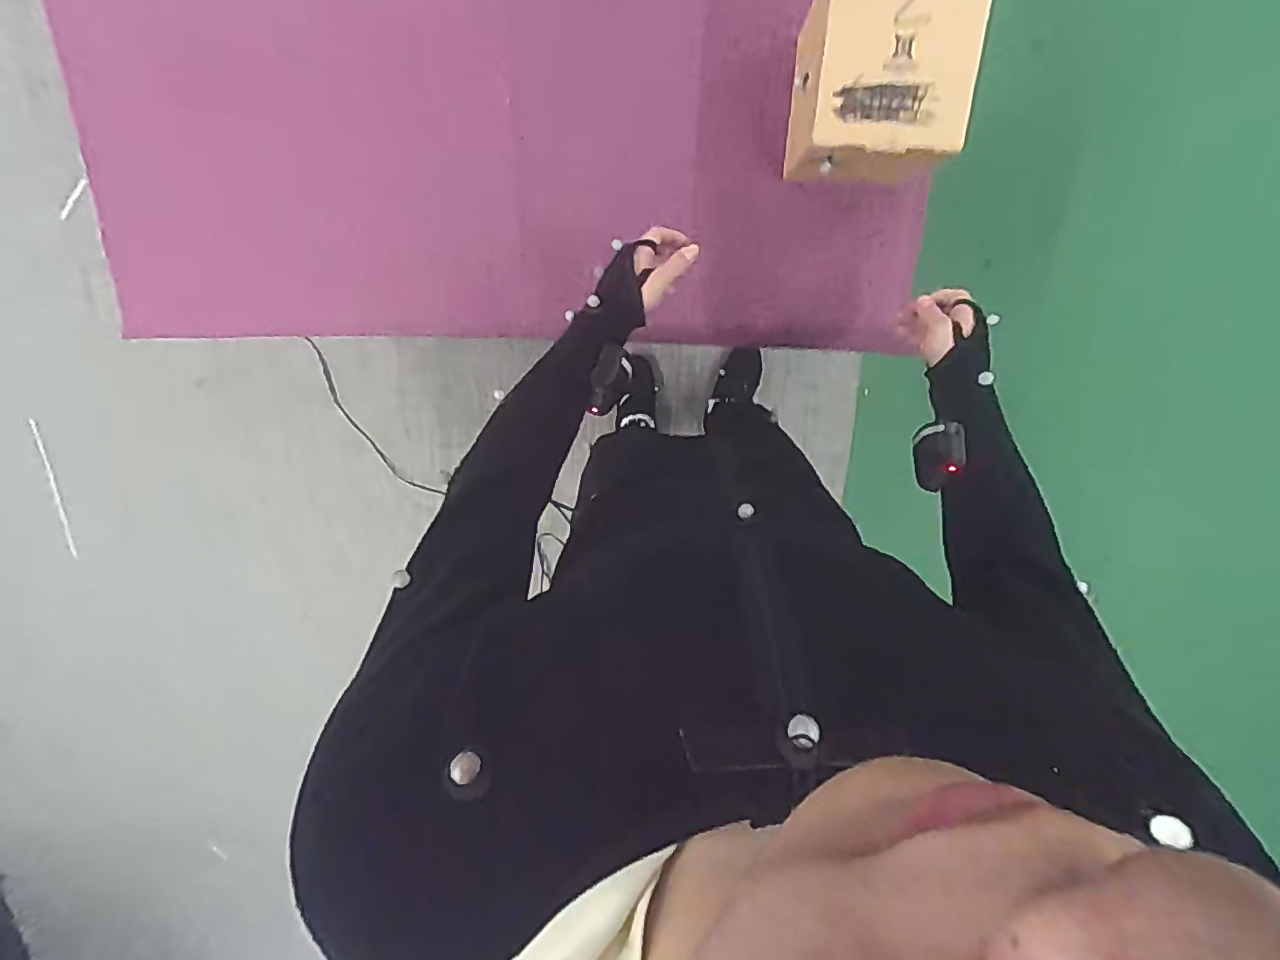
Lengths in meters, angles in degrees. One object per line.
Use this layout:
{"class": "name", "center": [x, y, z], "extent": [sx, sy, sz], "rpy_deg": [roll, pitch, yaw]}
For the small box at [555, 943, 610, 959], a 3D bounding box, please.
{"class": "small box", "center": [-0.179, 1.519, 1.588], "extent": [0.168, 0.176, 0.179], "rpy_deg": [5, 107, 1]}
